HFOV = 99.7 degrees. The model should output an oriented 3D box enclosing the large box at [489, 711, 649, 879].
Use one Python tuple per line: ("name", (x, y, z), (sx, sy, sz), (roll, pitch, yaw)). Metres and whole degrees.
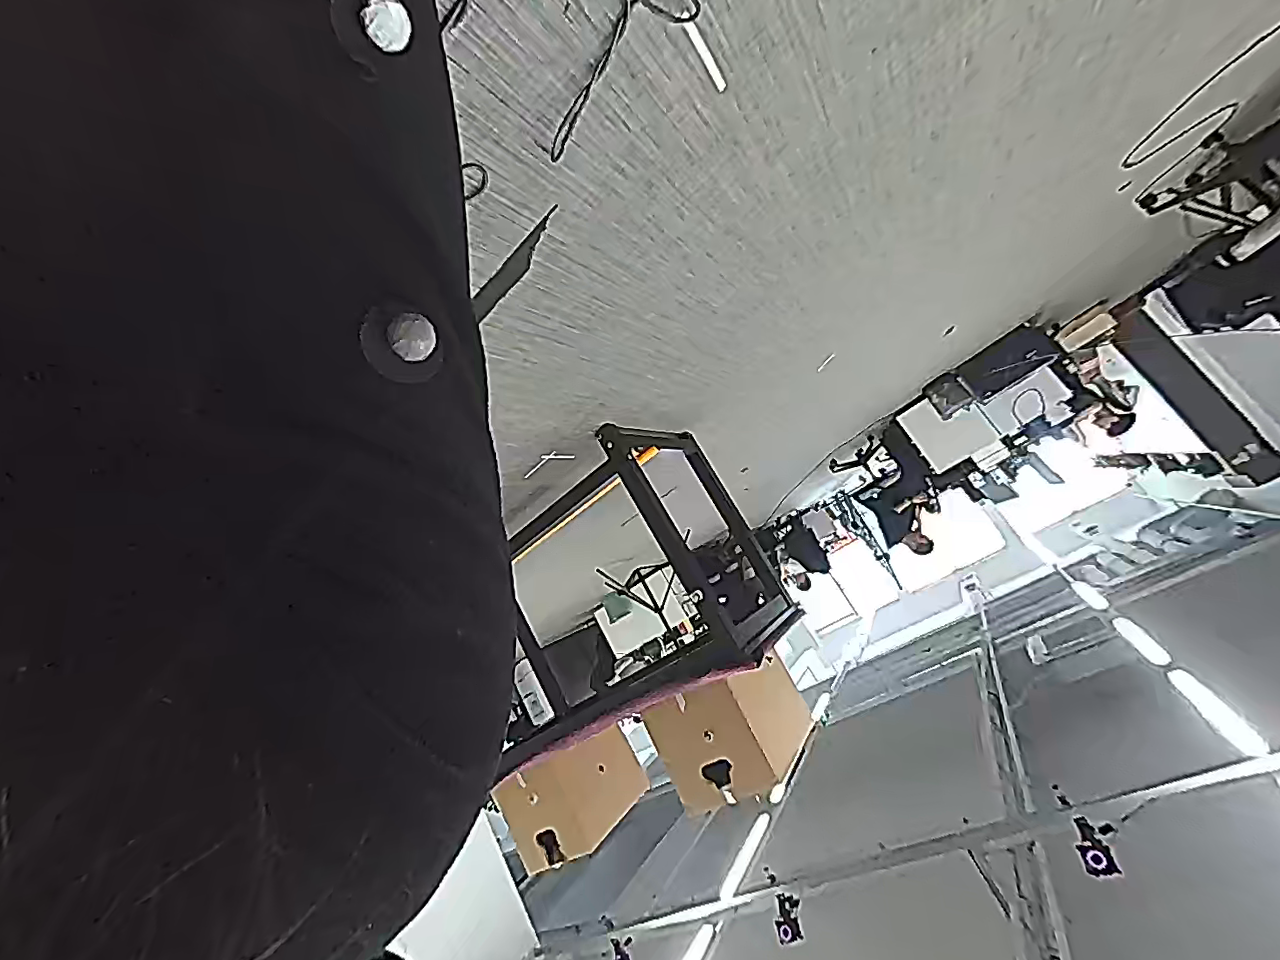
("large box", (-0.246, 1.094, 1.915), (0.320, 0.320, 0.408), (-37, 166, 25))
